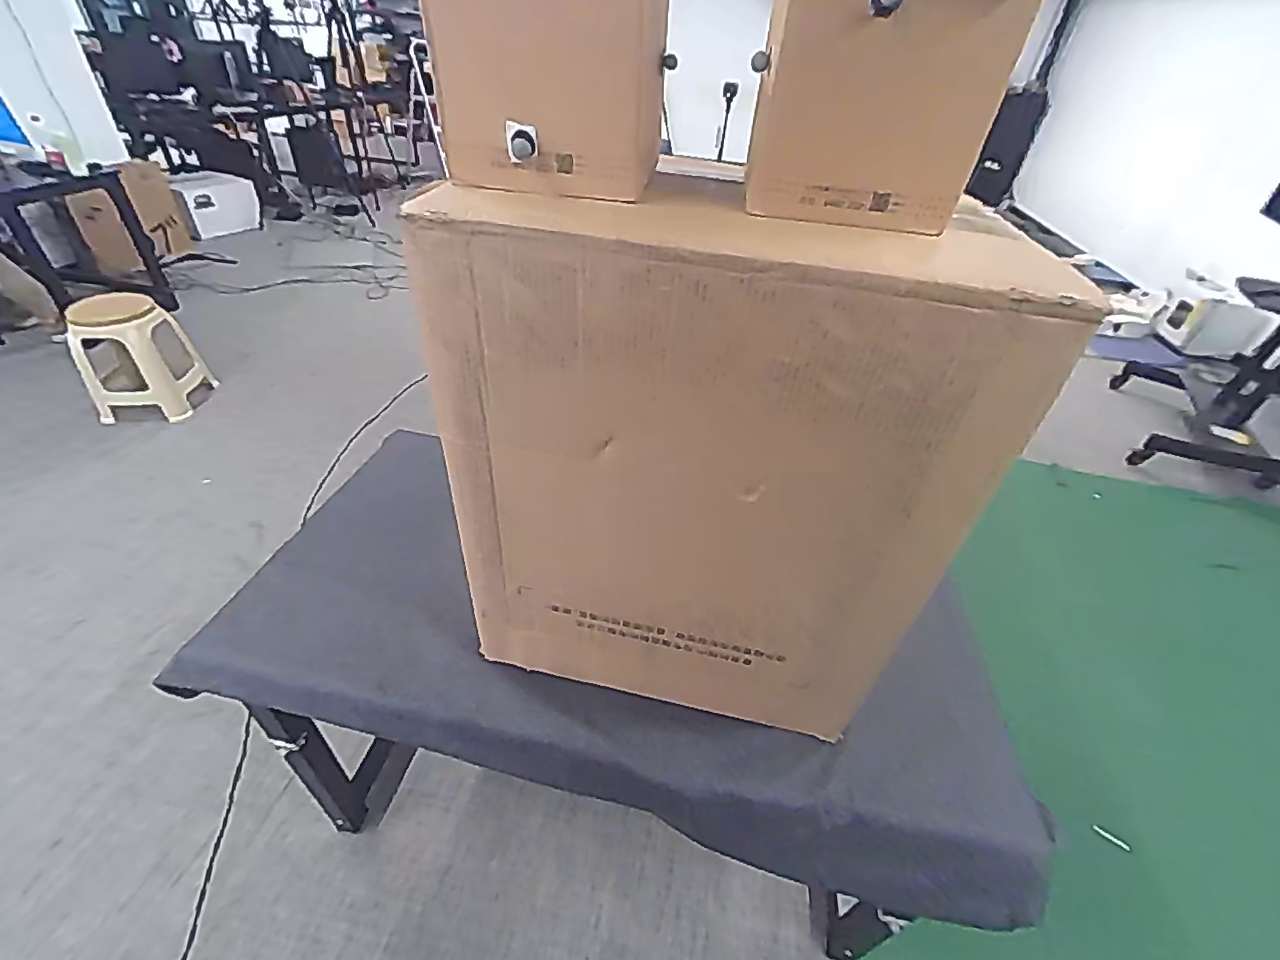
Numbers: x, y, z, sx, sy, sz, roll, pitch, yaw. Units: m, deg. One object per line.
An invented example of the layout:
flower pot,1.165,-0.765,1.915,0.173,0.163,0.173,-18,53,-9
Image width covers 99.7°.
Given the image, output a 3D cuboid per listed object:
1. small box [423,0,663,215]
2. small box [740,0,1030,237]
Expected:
small box,-0.072,-0.351,0.475,0.168,0.176,0.179,5,42,5
small box,0.181,-0.326,0.463,0.168,0.176,0.179,7,41,4
